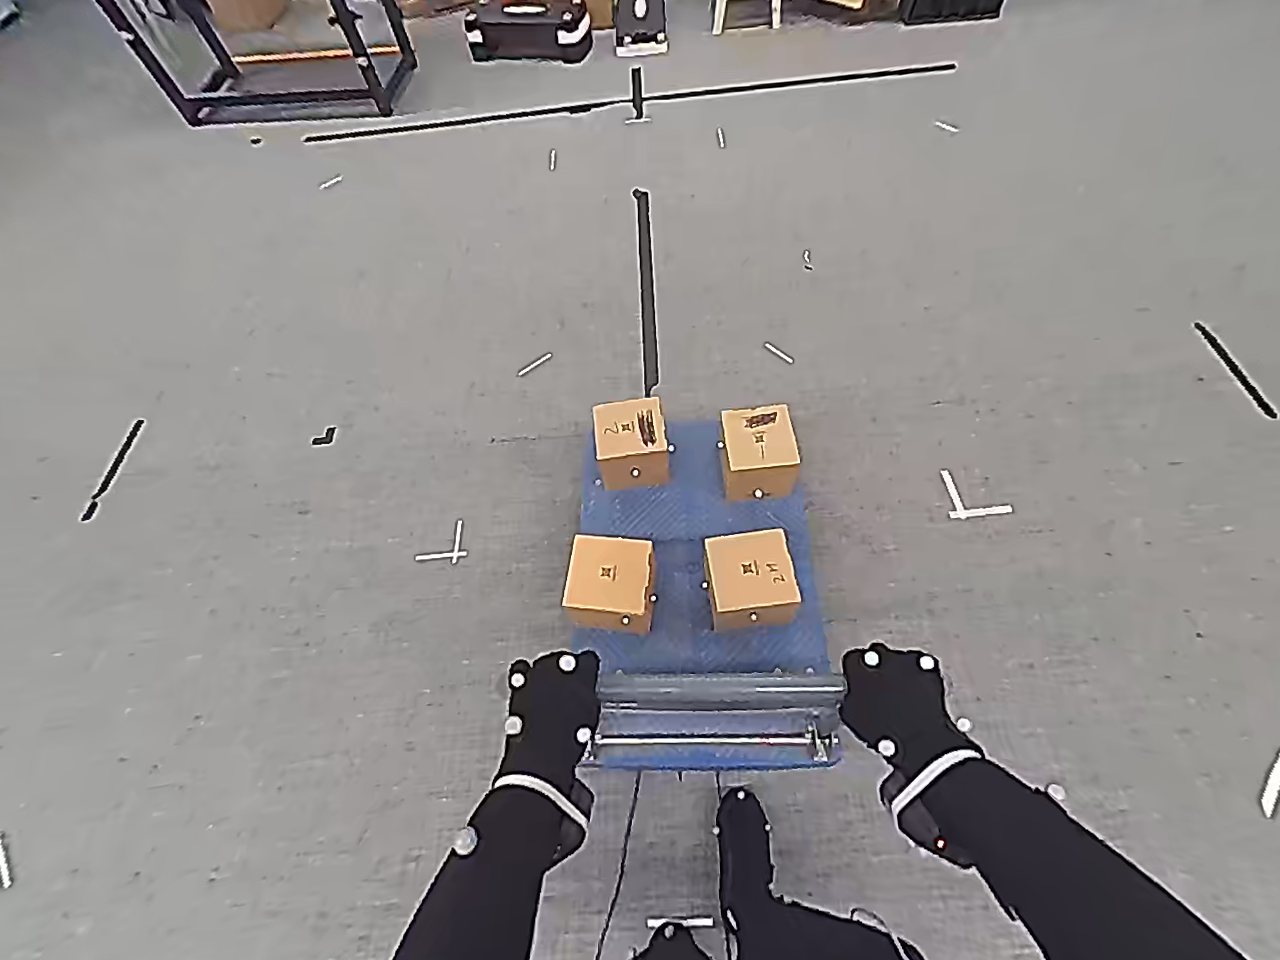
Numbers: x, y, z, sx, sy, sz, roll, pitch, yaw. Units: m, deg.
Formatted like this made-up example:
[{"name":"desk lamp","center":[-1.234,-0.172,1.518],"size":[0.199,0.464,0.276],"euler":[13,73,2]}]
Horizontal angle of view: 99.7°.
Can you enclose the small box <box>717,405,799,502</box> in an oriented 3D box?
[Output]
[{"name":"small box","center":[0.289,-0.064,1.362],"size":[0.168,0.176,0.179],"euler":[-6,61,3]}]

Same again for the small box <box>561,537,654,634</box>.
[{"name":"small box","center":[-0.065,0.242,1.225],"size":[0.179,0.176,0.168],"euler":[4,60,6]}]

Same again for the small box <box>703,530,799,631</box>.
[{"name":"small box","center":[0.239,0.228,1.202],"size":[0.179,0.176,0.168],"euler":[-8,60,1]}]
